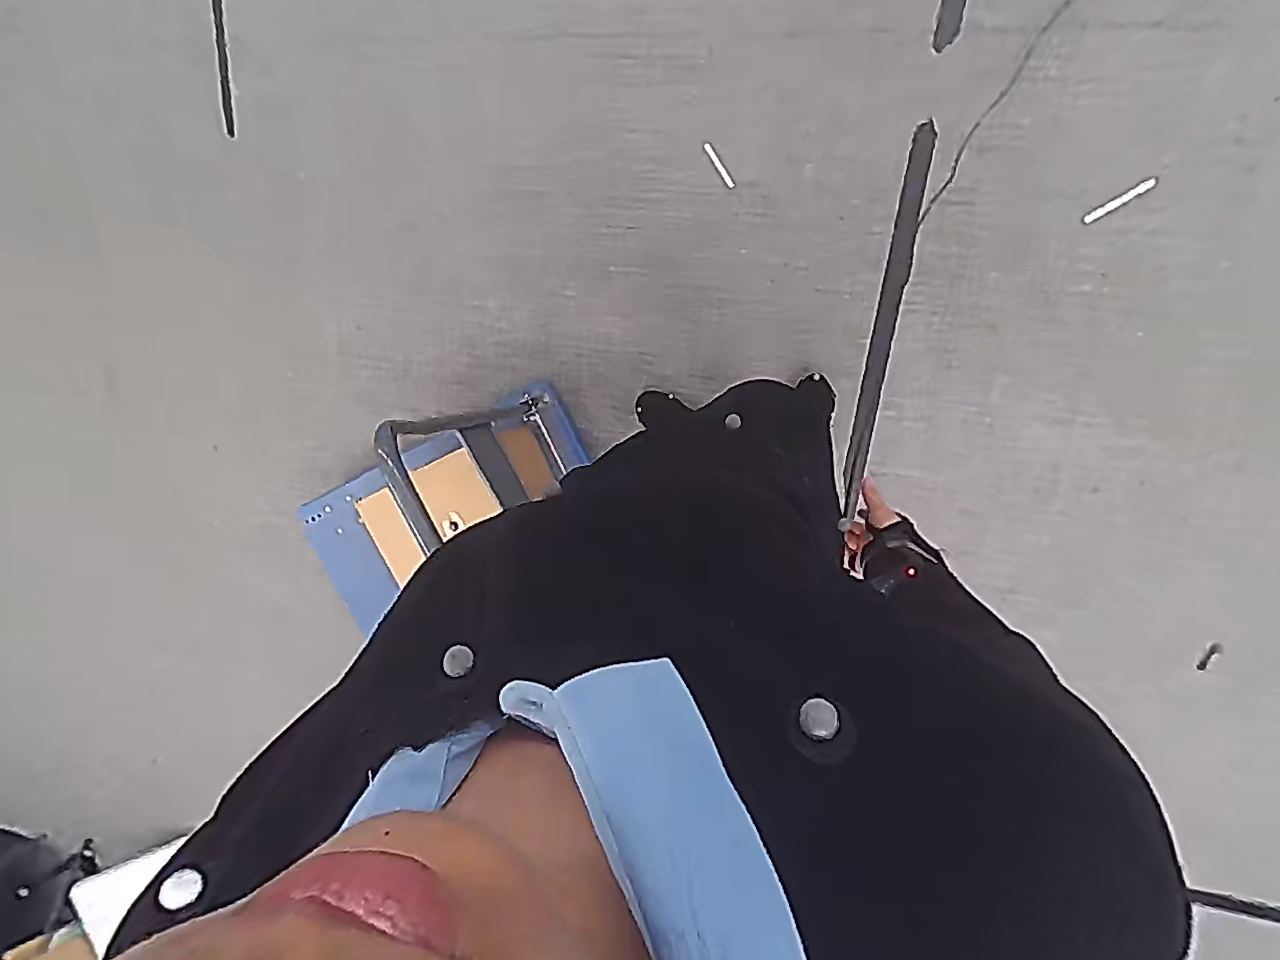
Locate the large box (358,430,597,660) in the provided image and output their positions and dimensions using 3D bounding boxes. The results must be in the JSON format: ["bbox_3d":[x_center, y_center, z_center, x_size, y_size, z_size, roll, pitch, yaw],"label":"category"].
[{"bbox_3d":[-0.356,0.137,1.281,0.320,0.320,0.408,-24,96,15],"label":"large box"}]
